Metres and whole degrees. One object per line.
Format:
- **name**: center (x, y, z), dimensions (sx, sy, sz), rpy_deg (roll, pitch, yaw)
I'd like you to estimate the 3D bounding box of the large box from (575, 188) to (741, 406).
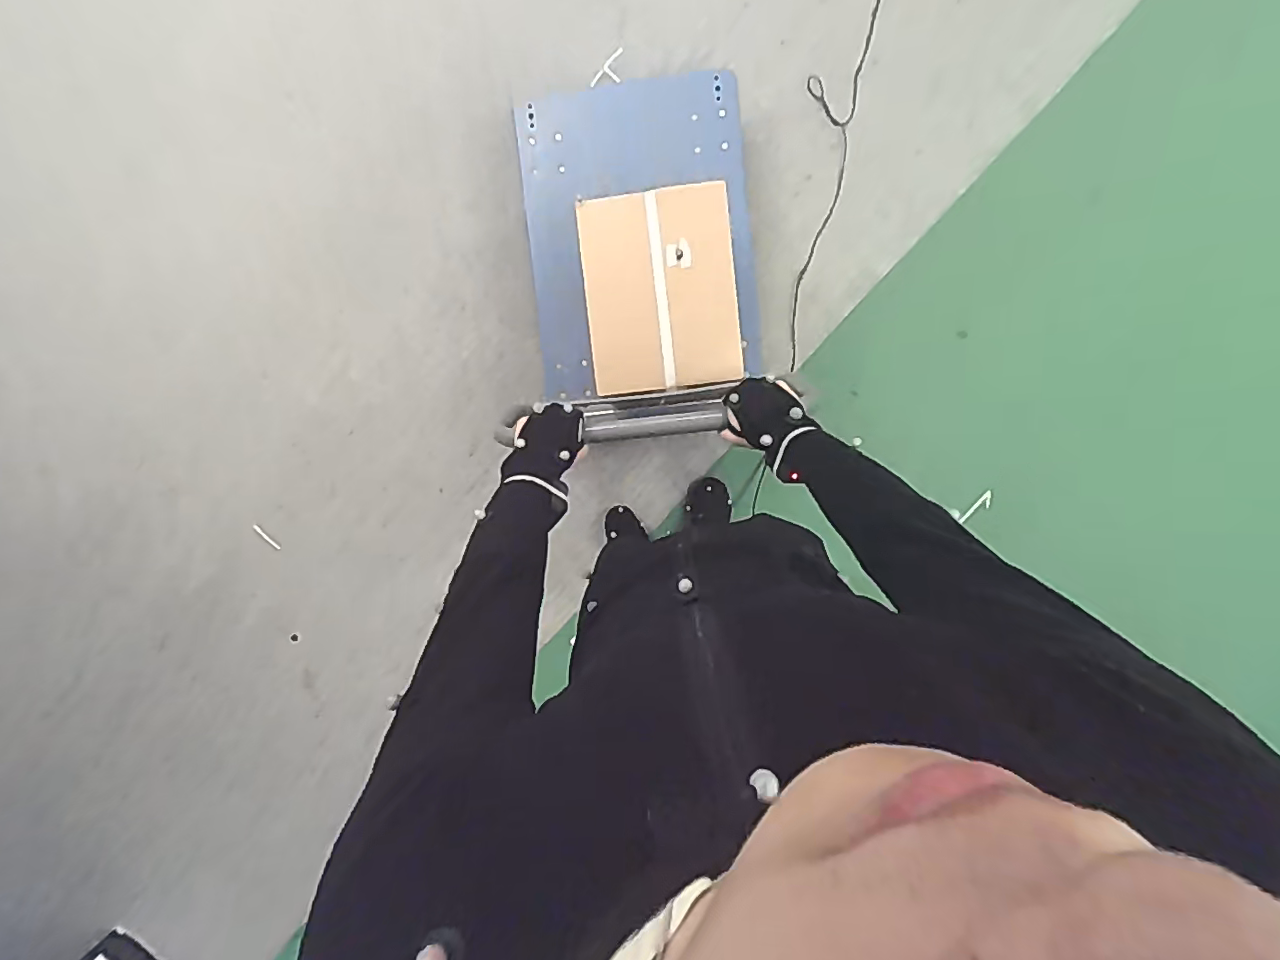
- **large box**: center (0.048, -0.404, 1.291), dimensions (0.320, 0.320, 0.408), rpy_deg (-6, 93, 3)
